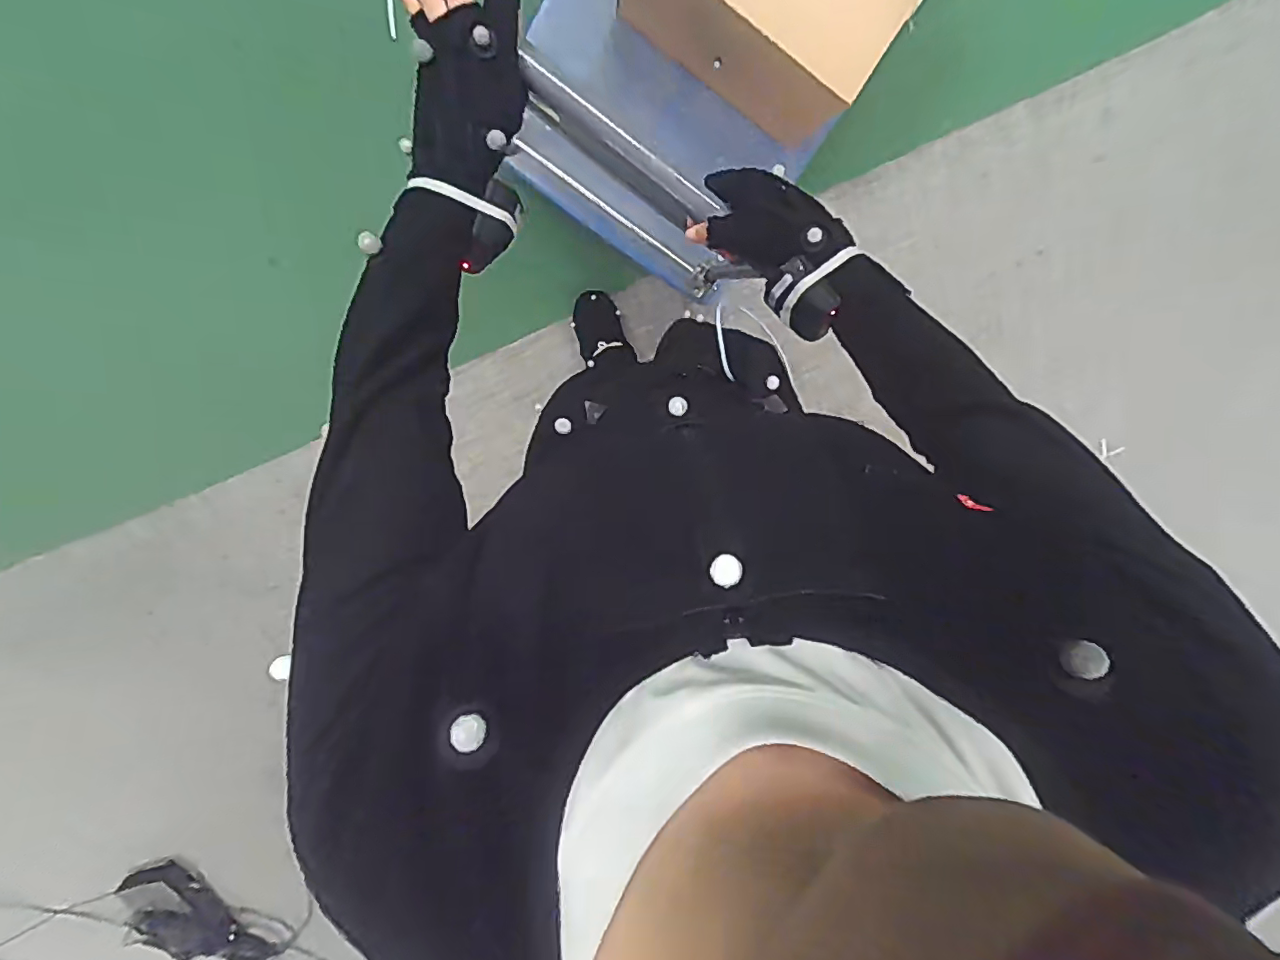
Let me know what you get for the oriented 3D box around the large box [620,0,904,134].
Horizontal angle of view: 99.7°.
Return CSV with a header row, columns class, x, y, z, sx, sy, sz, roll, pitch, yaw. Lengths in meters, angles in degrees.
class,x,y,z,sx,sy,sz,roll,pitch,yaw
large box,0.212,-0.843,0.862,0.408,0.320,0.320,28,107,-13
